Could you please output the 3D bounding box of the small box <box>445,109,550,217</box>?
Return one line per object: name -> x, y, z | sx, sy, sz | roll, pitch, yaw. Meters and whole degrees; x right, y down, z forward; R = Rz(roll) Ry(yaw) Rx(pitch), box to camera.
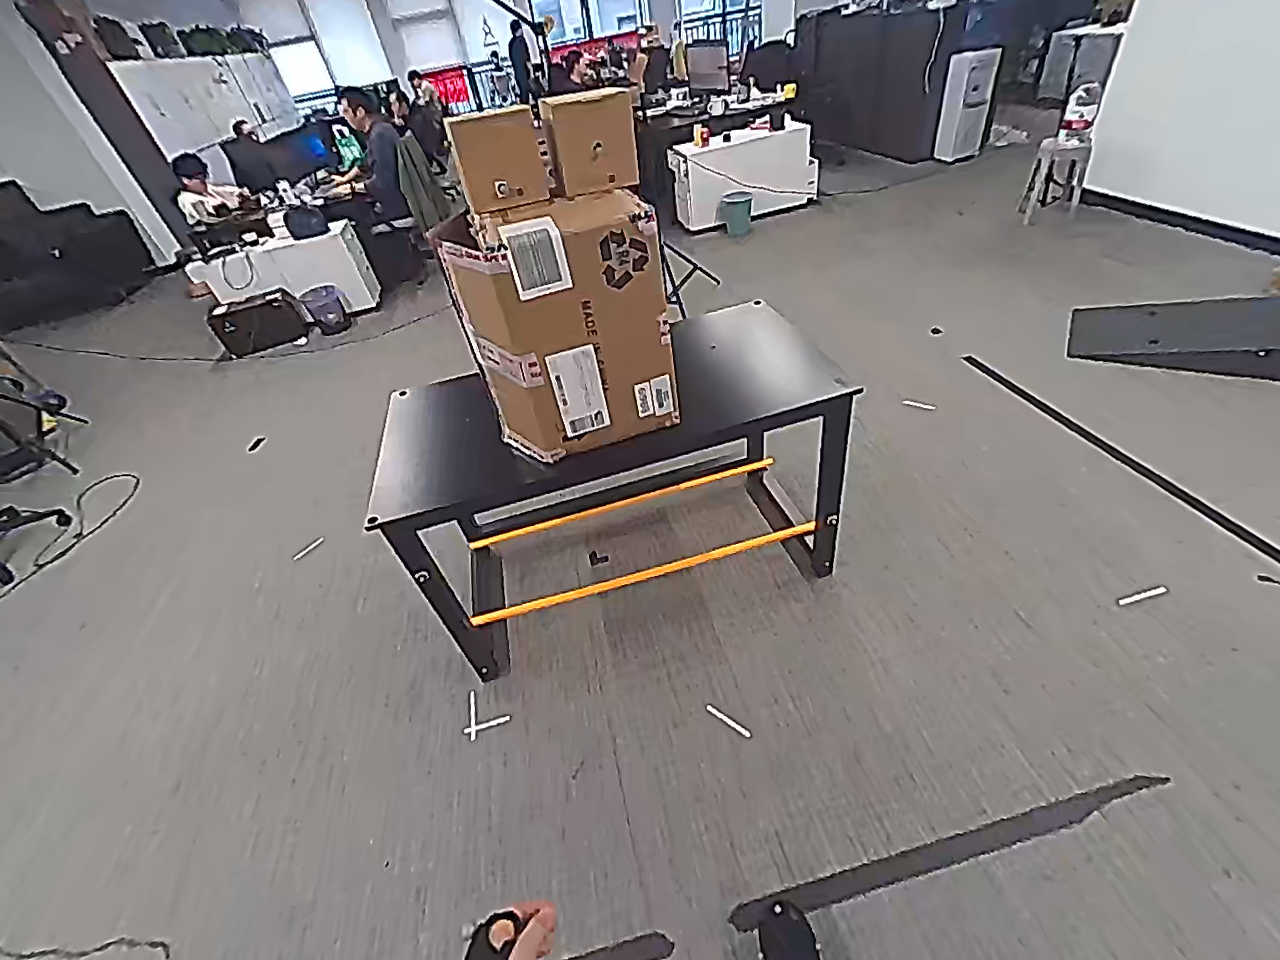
small box -> -0.305, -0.680, 1.161 | 0.168, 0.176, 0.179 | -20, 40, -11
